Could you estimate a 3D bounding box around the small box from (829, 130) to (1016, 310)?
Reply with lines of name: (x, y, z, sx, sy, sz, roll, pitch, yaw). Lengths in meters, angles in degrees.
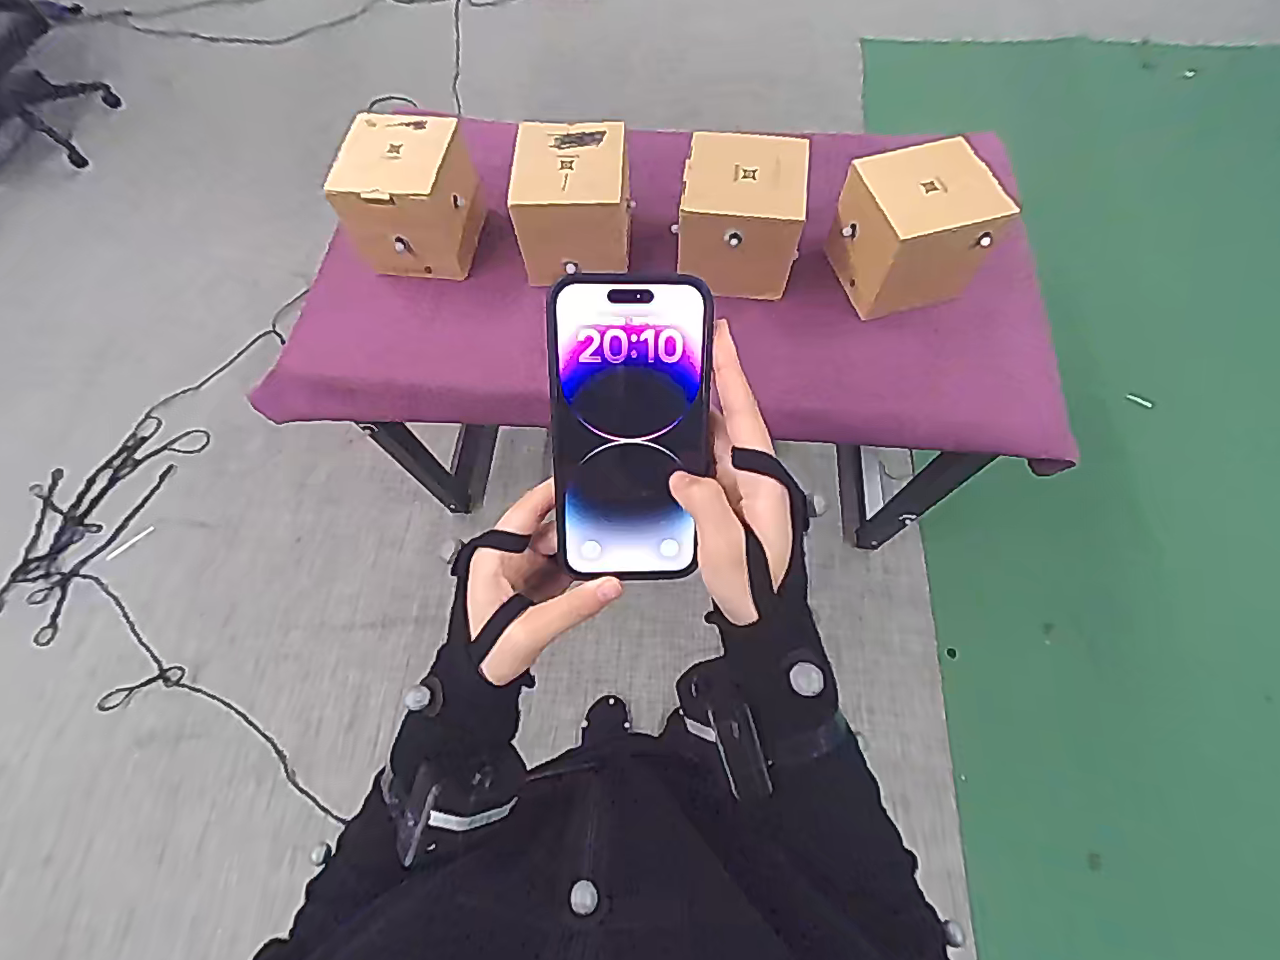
small box: (0.409, -0.388, 0.827, 0.179, 0.176, 0.168, -15, 67, -4)

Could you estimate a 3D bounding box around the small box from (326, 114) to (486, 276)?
small box: (-0.371, -0.464, 0.895, 0.168, 0.176, 0.179, 5, 68, 4)

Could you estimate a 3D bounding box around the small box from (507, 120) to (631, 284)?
small box: (-0.104, -0.444, 0.874, 0.168, 0.176, 0.179, 0, 68, 3)

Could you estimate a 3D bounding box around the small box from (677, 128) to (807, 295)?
small box: (0.153, -0.415, 0.852, 0.179, 0.176, 0.168, 8, 68, 5)
